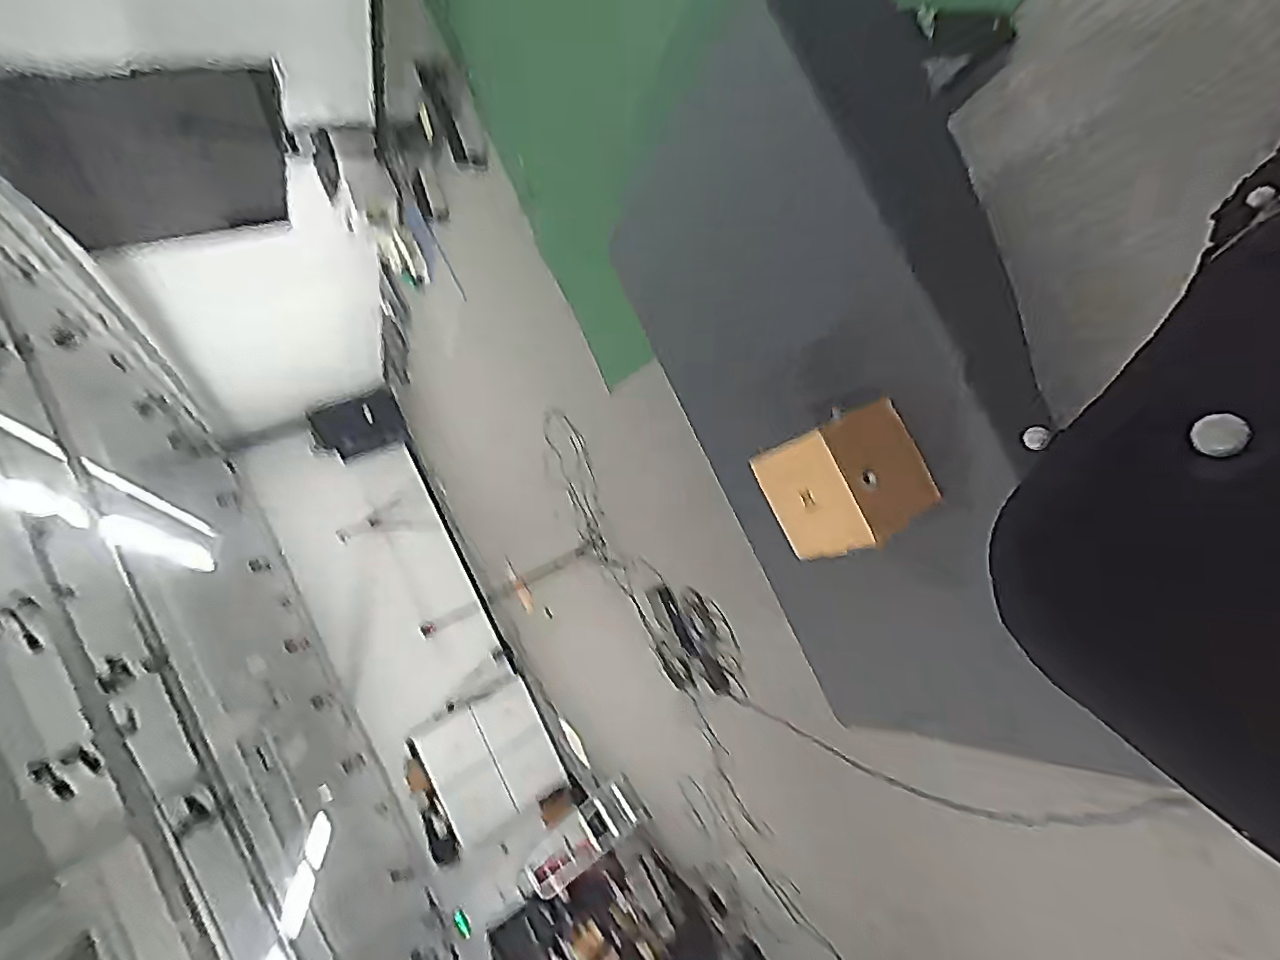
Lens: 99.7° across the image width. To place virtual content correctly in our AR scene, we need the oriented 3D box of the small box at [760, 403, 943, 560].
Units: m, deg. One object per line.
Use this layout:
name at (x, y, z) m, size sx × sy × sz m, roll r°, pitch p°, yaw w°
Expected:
small box at (0.329, 0.004, 0.846) m, size 0.179 × 0.176 × 0.168 m, roll 64°, pitch 151°, yaw 5°
